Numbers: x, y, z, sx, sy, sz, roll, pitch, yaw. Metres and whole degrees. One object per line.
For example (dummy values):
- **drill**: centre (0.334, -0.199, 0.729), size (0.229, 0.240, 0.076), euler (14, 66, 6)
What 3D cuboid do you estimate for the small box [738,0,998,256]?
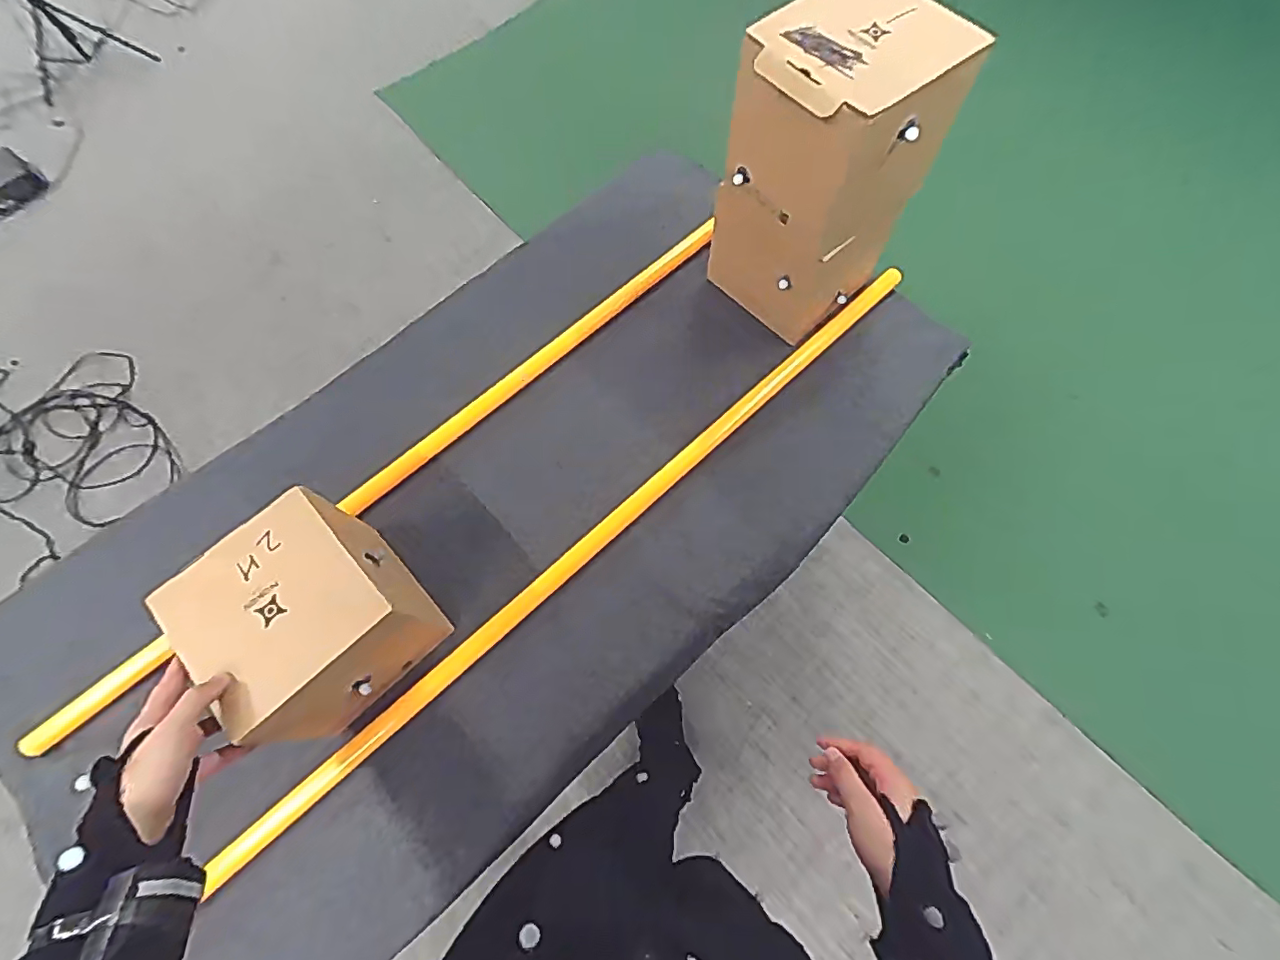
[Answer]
- **small box**: centre (0.223, -0.384, 0.587), size (0.179, 0.176, 0.168), euler (-36, 72, -12)

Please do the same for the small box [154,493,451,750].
- **small box**: centre (-0.334, 0.148, 0.572), size (0.168, 0.176, 0.179), euler (-42, 73, -14)
